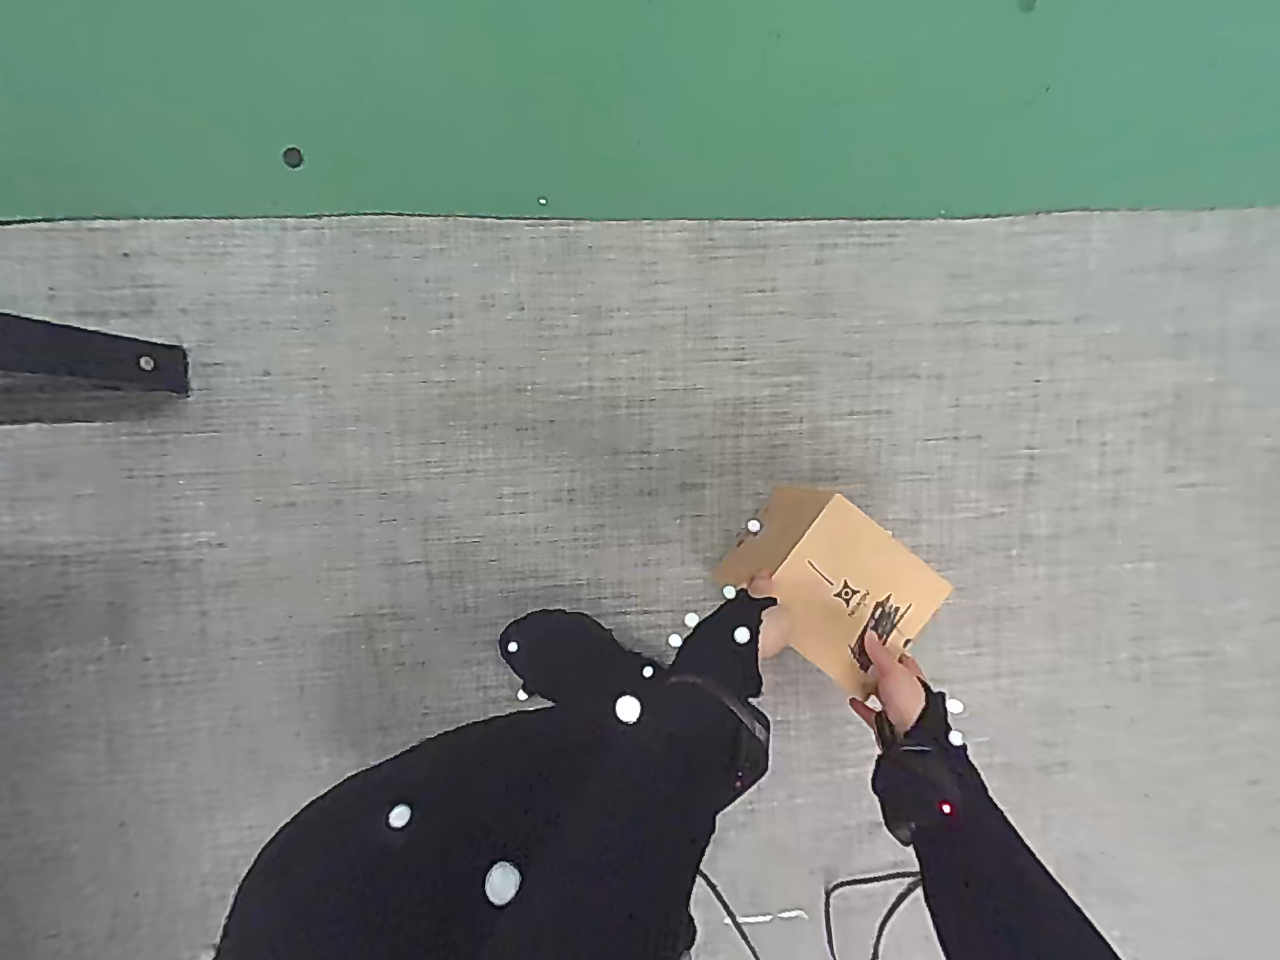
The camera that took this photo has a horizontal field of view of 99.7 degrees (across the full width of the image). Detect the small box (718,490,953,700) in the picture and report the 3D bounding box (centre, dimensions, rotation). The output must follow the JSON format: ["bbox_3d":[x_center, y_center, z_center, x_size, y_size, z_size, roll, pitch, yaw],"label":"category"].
[{"bbox_3d":[0.225,0.124,0.667,0.179,0.176,0.168,39,87,-6],"label":"small box"}]
